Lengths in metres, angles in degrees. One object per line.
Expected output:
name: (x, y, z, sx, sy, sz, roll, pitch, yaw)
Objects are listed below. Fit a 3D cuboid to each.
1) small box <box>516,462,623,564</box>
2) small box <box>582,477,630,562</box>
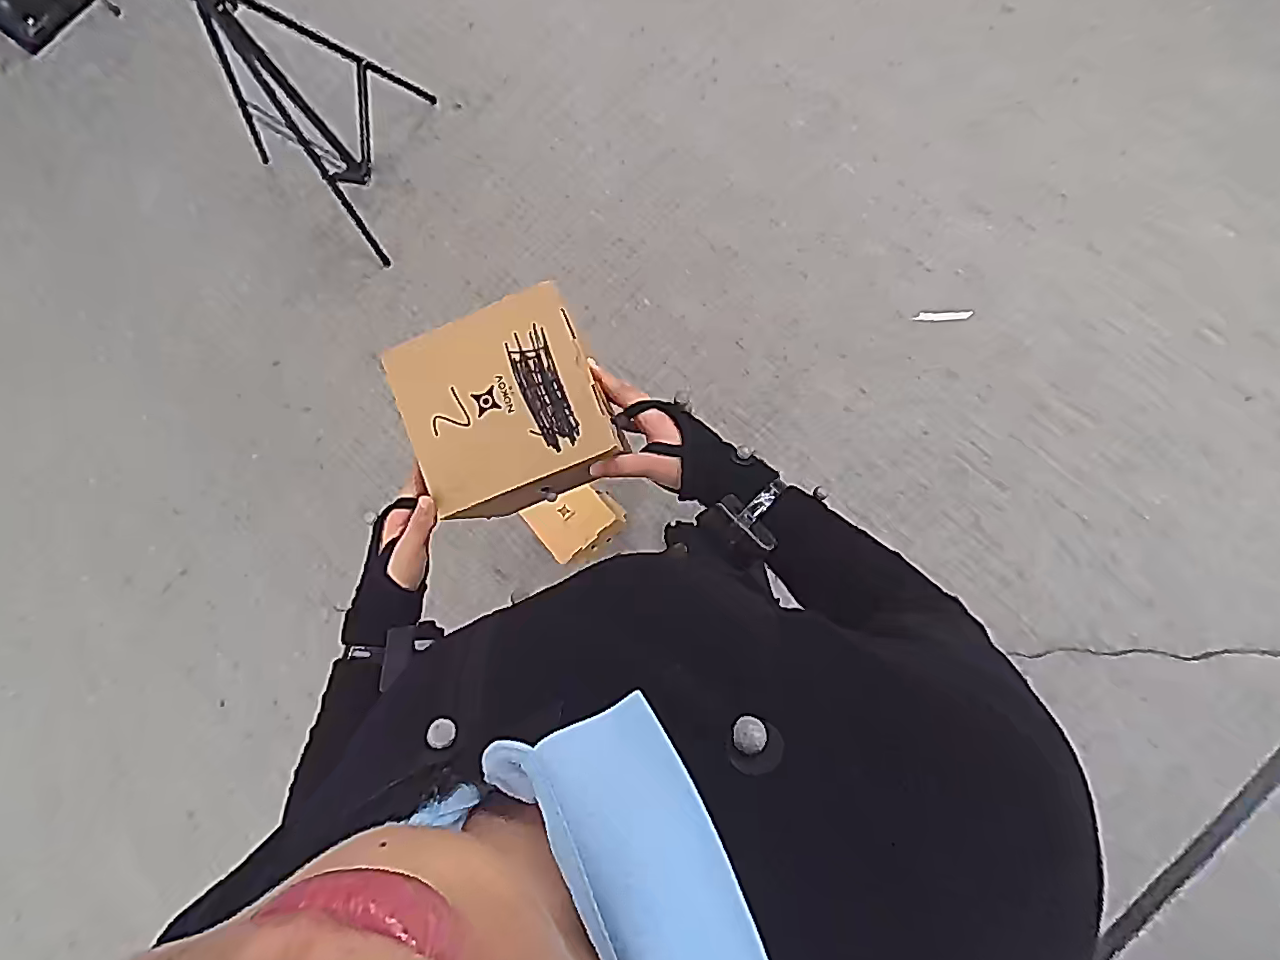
small box: (-0.160, 0.085, 1.290, 0.168, 0.176, 0.179, -41, 81, -1)
small box: (-0.145, 0.100, 1.452, 0.179, 0.176, 0.168, 42, 87, 10)
